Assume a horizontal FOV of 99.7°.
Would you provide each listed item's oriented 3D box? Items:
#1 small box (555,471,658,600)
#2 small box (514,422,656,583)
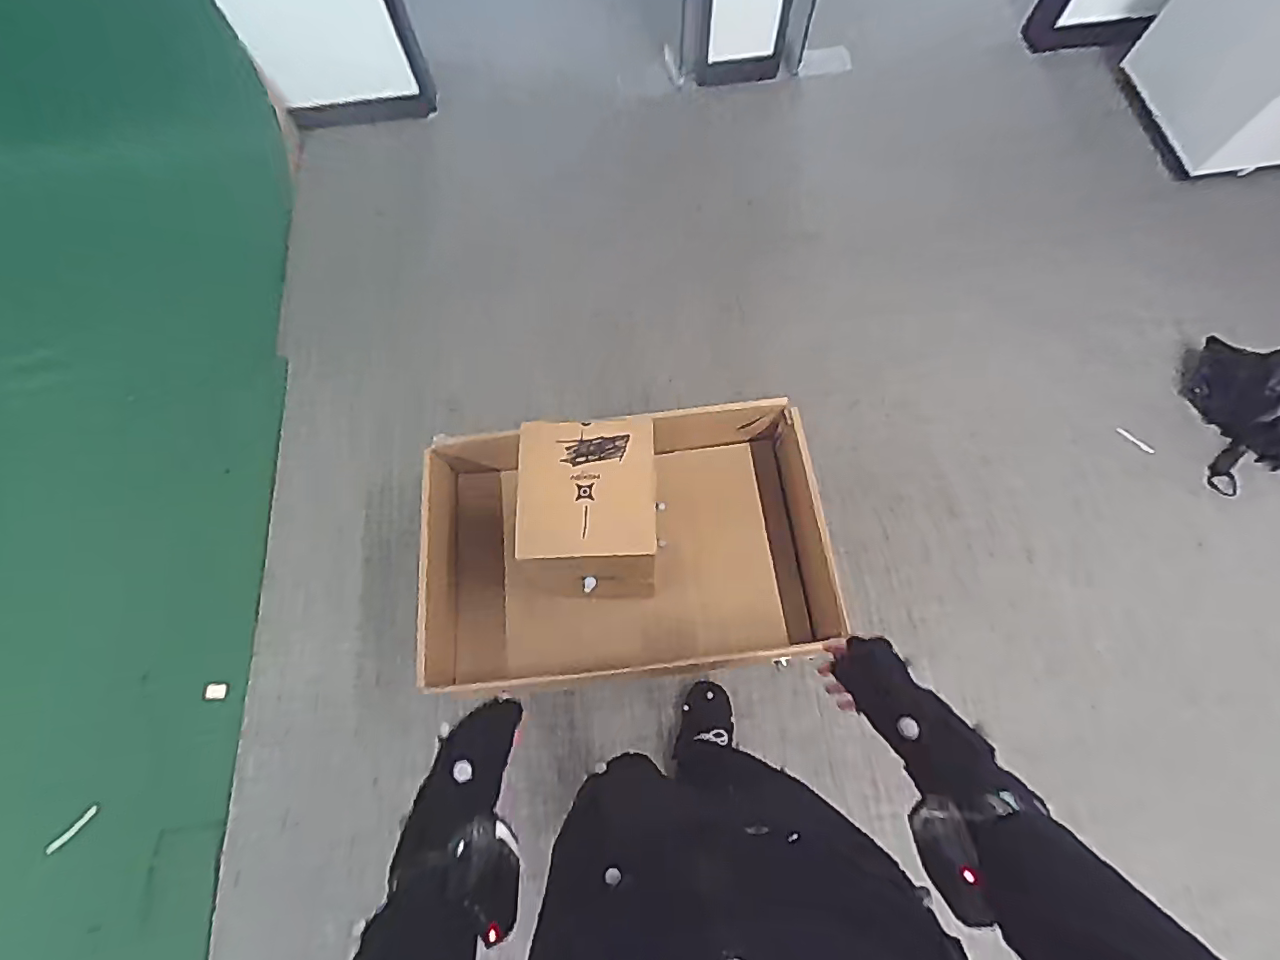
[{"bbox_3d":[-0.056,0.093,0.880,0.168,0.176,0.179,0,69,2],"label":"small box"},{"bbox_3d":[-0.064,0.036,0.726,0.168,0.176,0.179,-1,70,1],"label":"small box"}]
